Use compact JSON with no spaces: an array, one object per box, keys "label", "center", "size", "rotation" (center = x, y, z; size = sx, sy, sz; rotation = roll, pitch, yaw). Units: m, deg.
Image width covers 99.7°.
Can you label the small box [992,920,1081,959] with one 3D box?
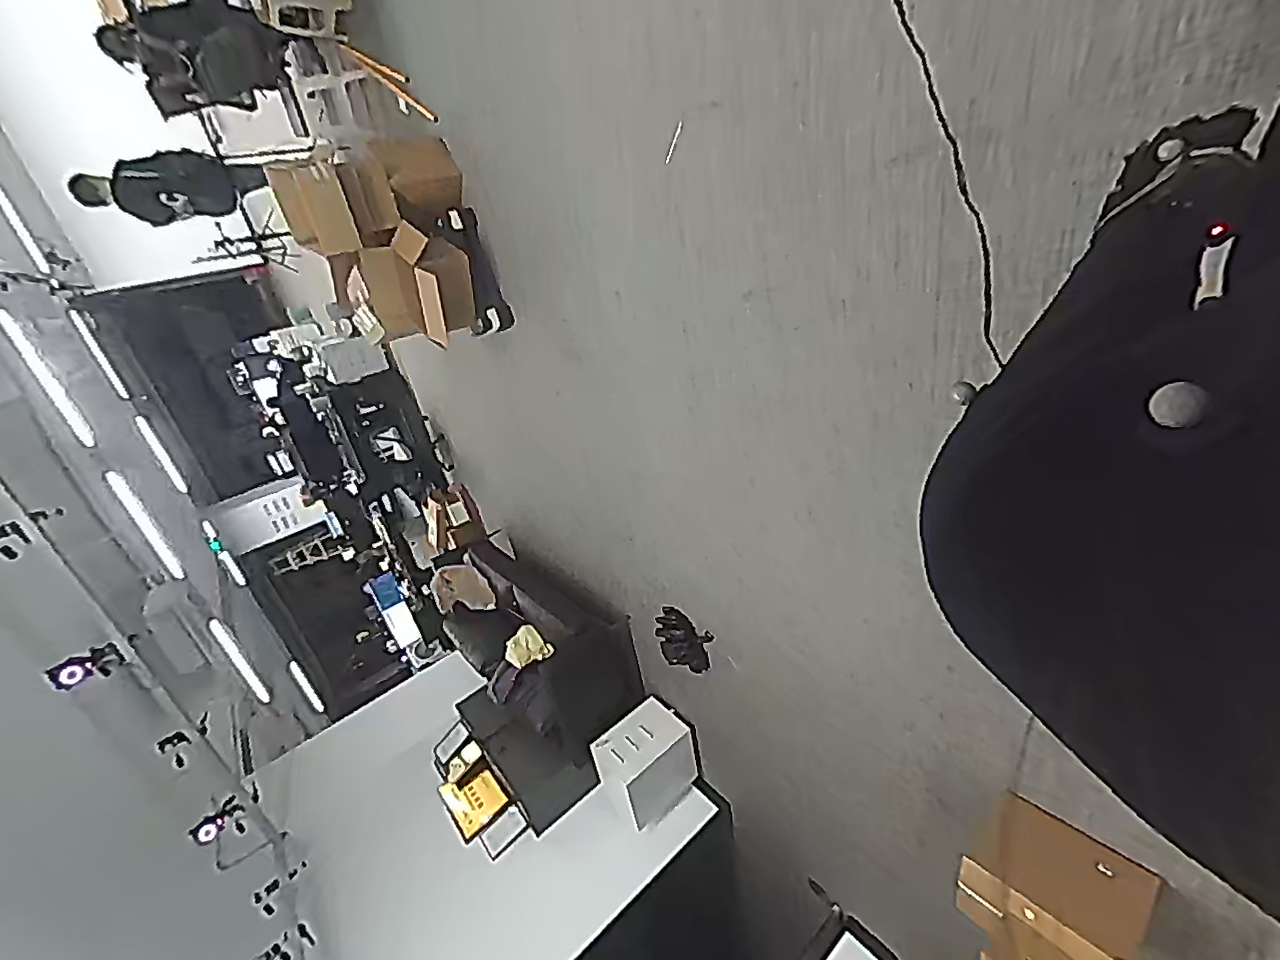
[{"label":"small box","center":[1.129,1.413,1.539],"size":[0.179,0.176,0.168],"rotation":[20,124,50]}]
